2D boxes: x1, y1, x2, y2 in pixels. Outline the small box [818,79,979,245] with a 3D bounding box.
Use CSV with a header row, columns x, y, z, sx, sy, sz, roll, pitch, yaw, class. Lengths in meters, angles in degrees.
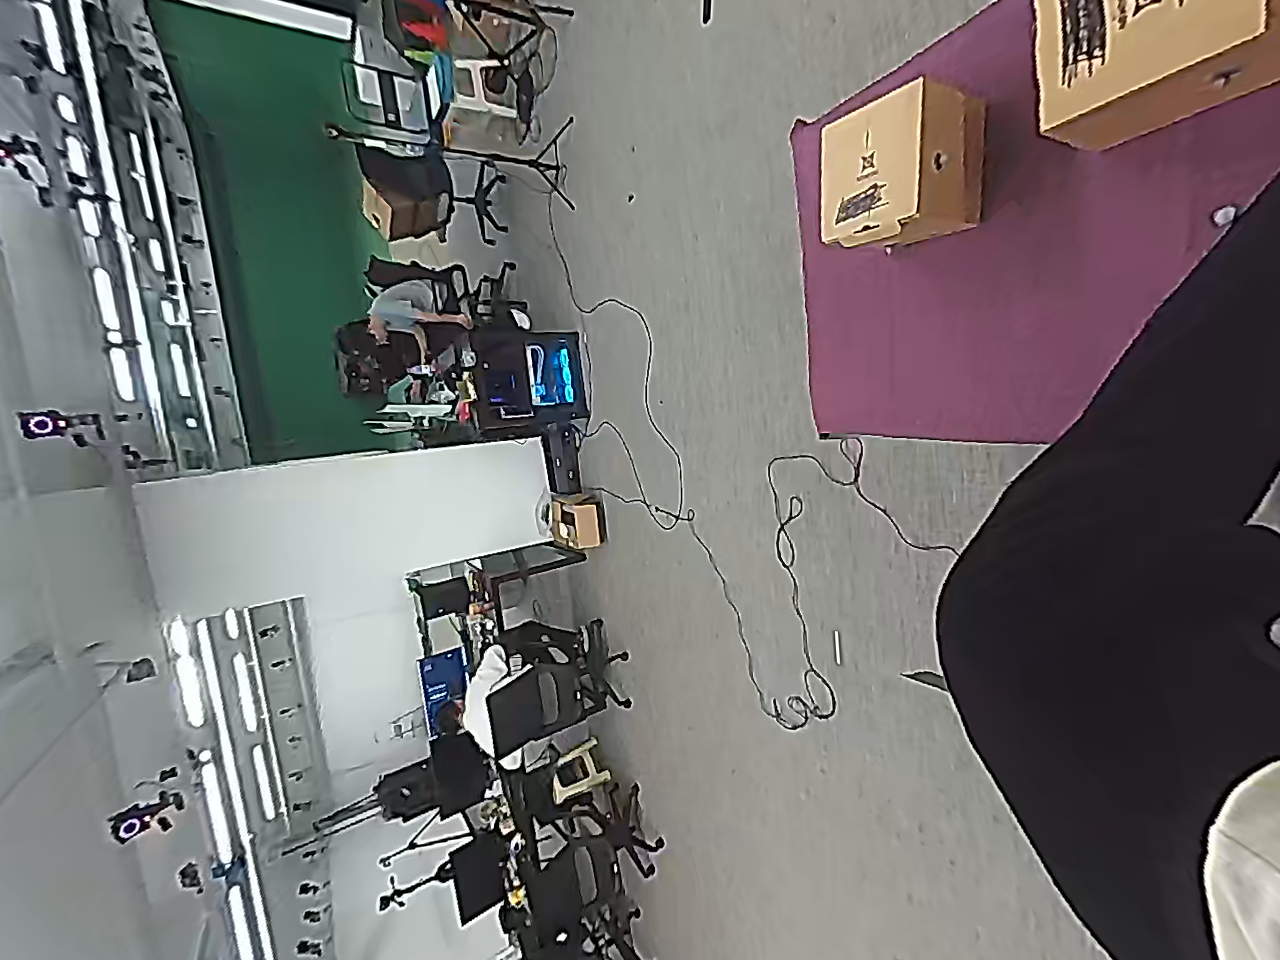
x,y,z,sx,sy,sz,roll,pitch,yaw,class
0.398,-0.472,0.837,0.168,0.176,0.179,13,110,56,small box
